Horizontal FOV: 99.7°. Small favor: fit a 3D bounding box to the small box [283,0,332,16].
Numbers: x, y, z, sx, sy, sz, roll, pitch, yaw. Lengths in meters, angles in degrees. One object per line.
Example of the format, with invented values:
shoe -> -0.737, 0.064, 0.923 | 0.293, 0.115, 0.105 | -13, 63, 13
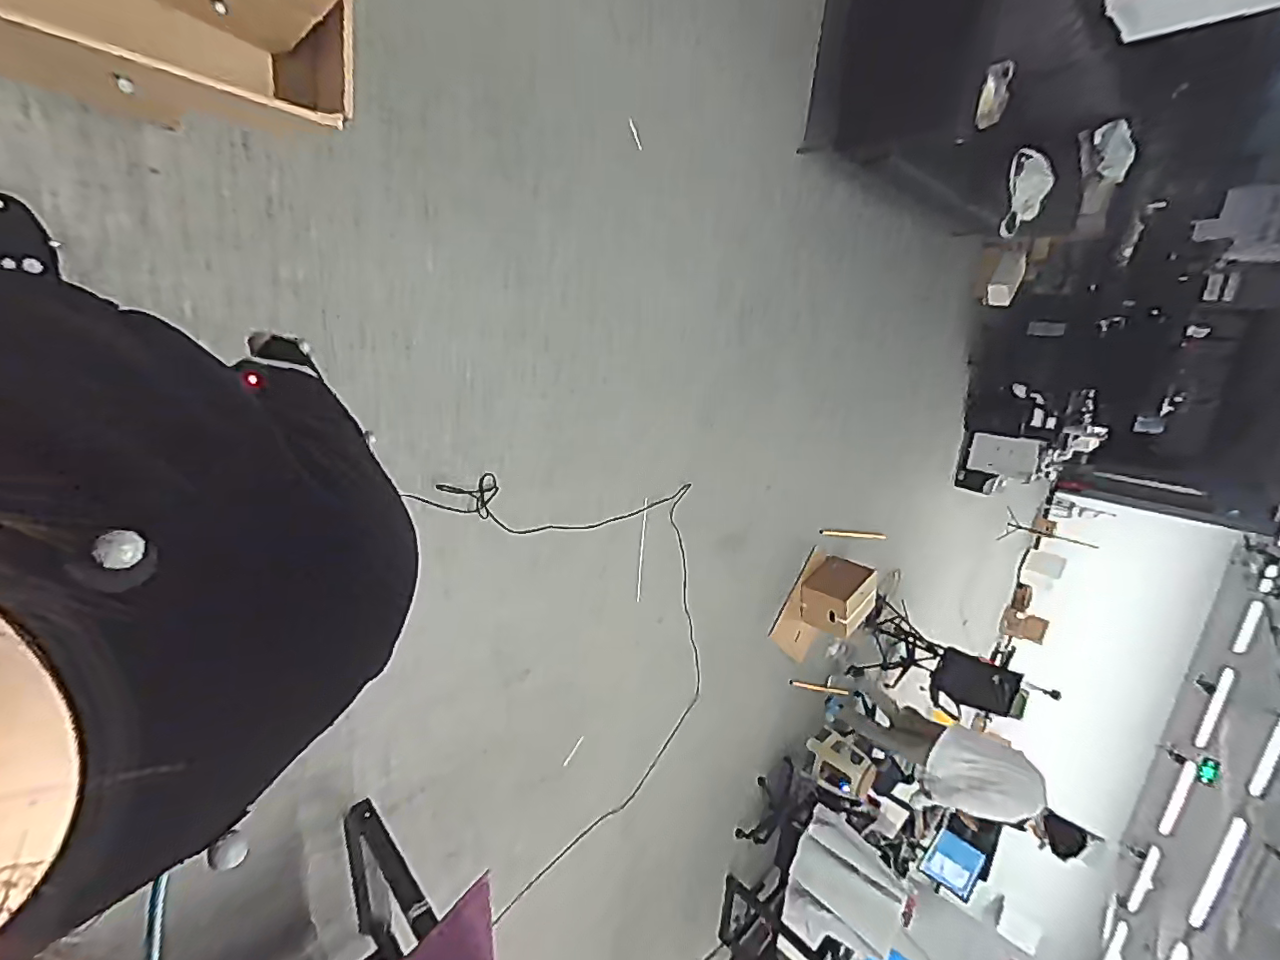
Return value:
small box -> -0.384, -0.631, 0.547 | 0.168, 0.176, 0.179 | 1, 103, -47
